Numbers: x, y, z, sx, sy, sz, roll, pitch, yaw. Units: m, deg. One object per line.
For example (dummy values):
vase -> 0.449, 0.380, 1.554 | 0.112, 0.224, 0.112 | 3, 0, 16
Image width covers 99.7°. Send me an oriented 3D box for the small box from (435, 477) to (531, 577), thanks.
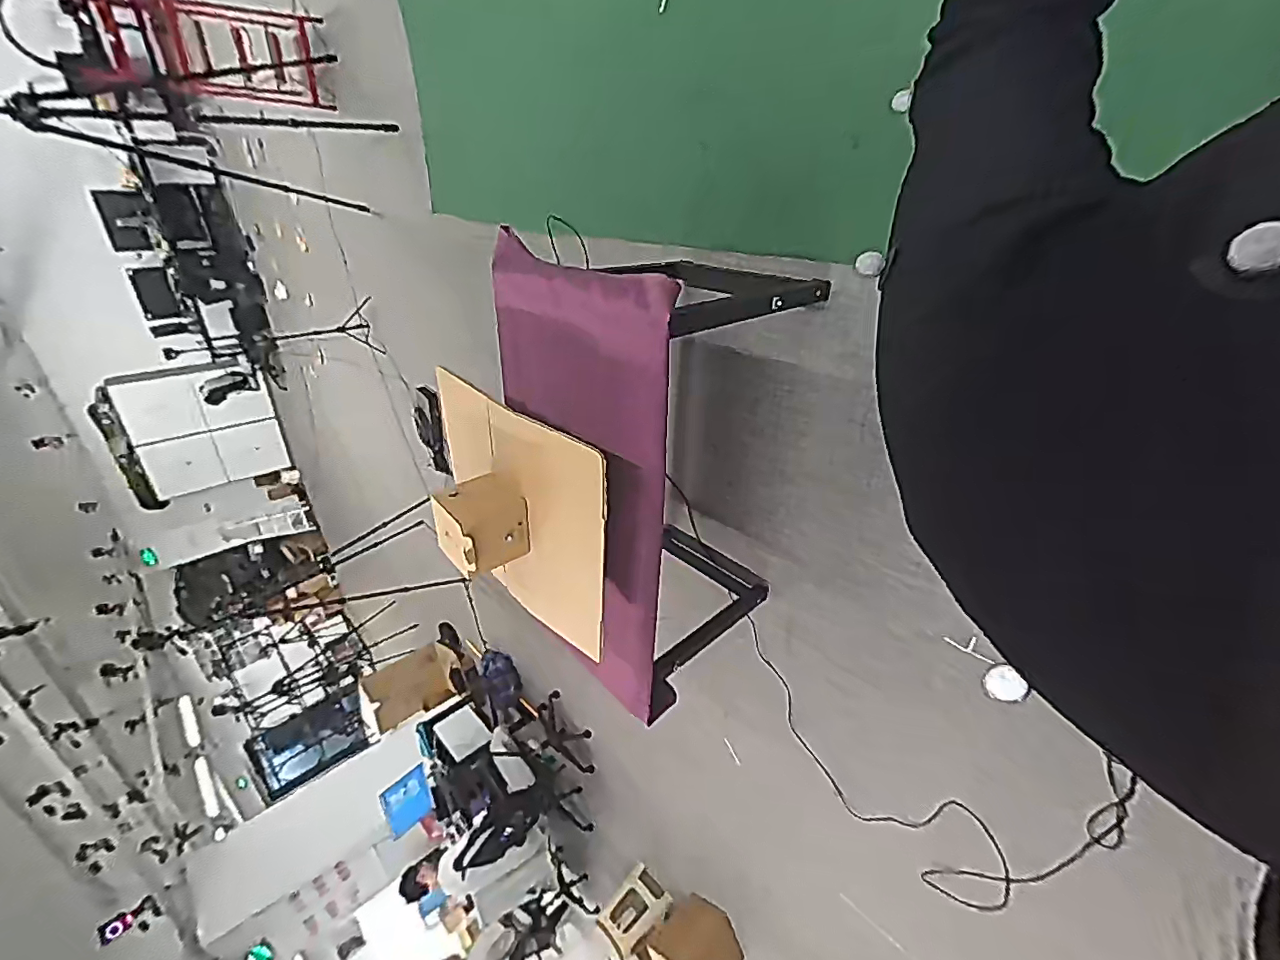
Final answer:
small box -> -0.392, 0.108, 1.364 | 0.179, 0.176, 0.168 | 31, 131, 38
